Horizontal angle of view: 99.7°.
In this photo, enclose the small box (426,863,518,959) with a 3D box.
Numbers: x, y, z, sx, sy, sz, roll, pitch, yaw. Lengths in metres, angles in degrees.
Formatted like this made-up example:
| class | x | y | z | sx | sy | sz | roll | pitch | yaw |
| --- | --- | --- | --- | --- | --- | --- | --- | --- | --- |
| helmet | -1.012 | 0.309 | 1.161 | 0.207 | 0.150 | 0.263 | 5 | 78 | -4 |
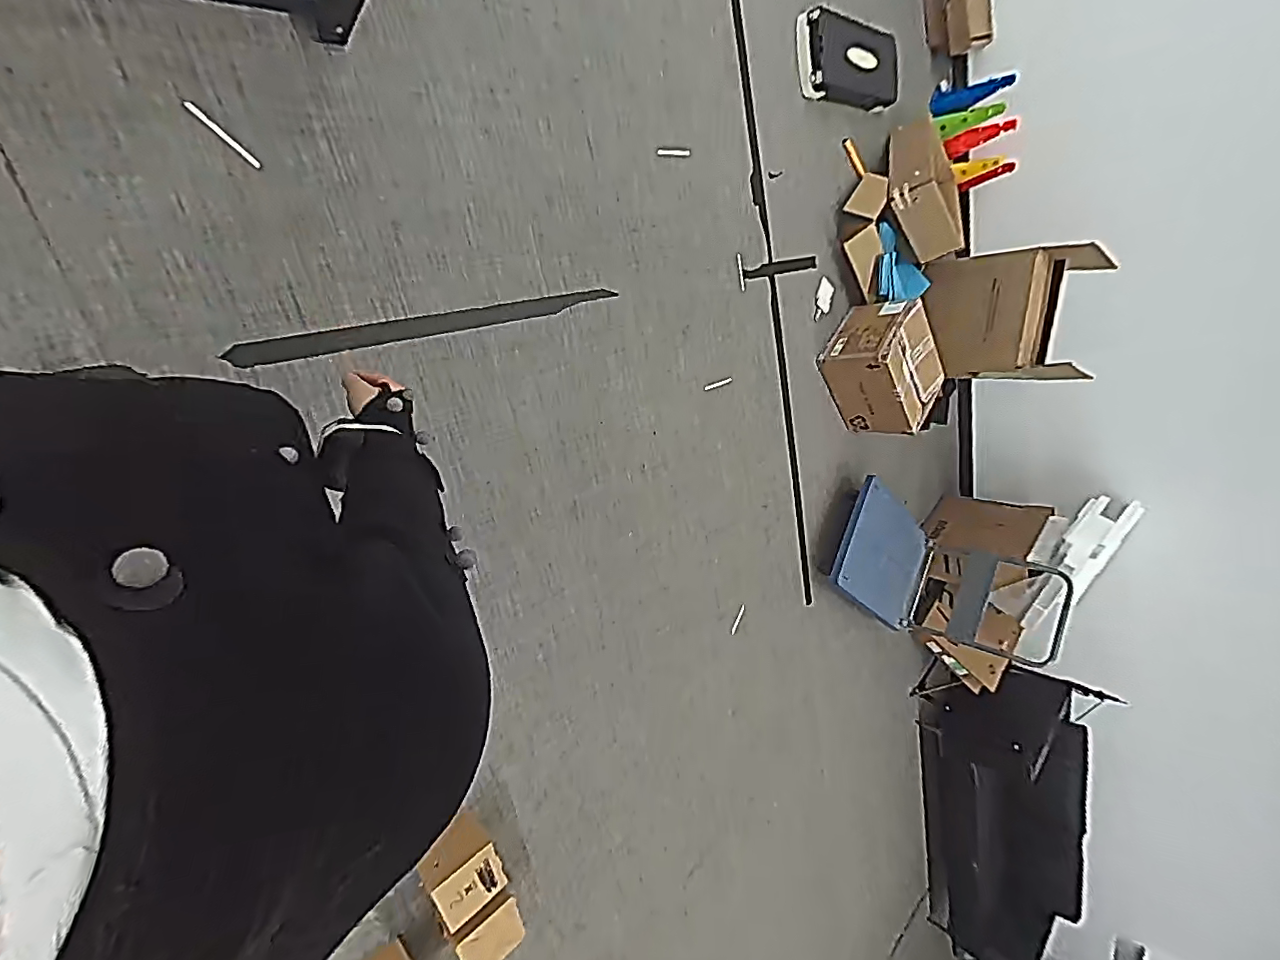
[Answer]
| class | x | y | z | sx | sy | sz | roll | pitch | yaw |
| --- | --- | --- | --- | --- | --- | --- | --- | --- | --- |
| small box | -0.482 | 1.273 | 1.555 | 0.179 | 0.176 | 0.168 | -24 | 112 | -36 |
